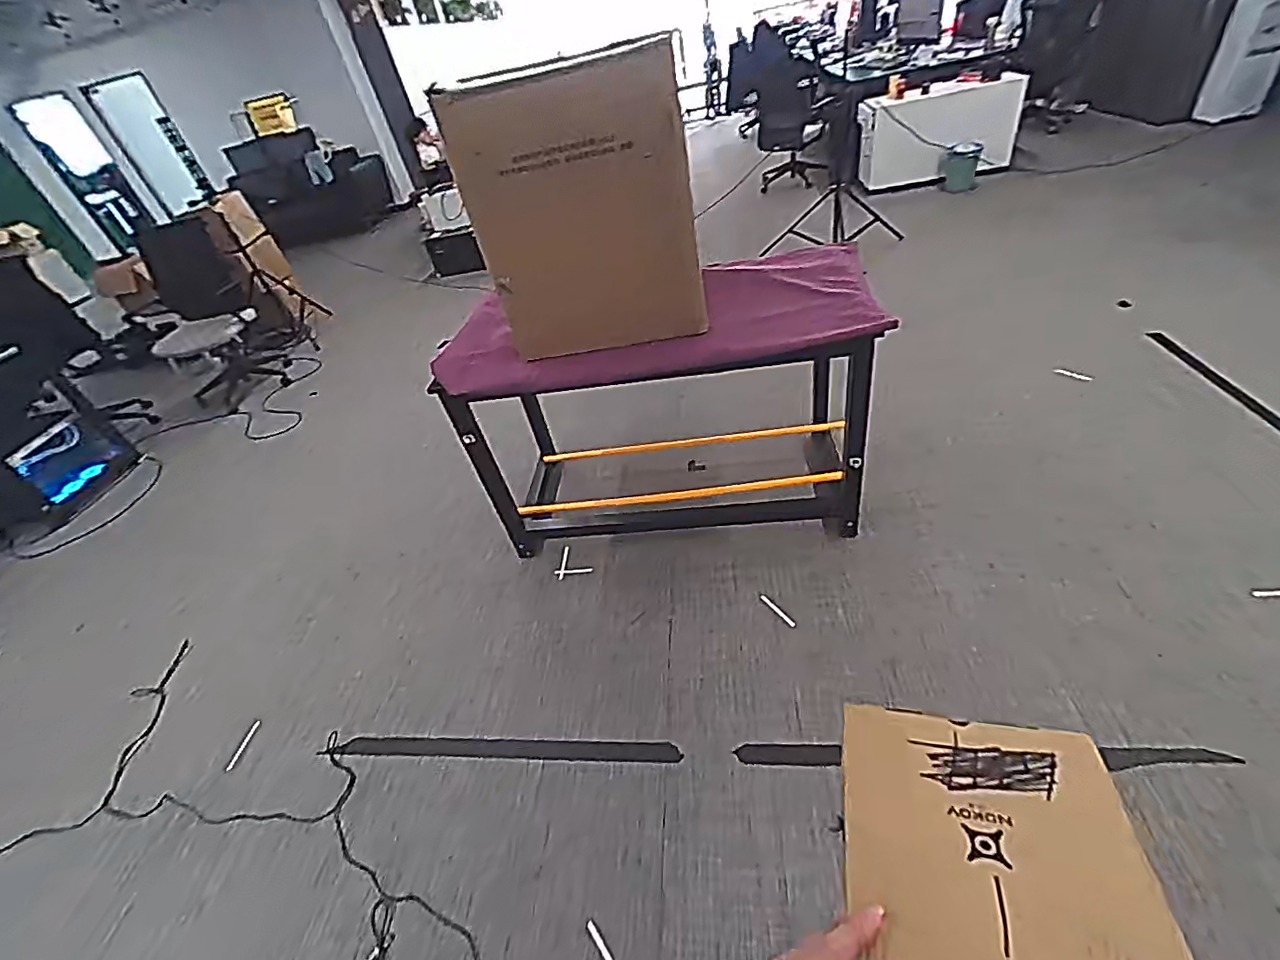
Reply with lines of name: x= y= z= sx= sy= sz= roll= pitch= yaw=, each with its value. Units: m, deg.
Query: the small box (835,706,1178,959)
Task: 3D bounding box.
small box: x=0.225 y=0.295 z=0.378 sx=0.168 sy=0.176 sz=0.179 roll=-1 pitch=27 yaw=20
